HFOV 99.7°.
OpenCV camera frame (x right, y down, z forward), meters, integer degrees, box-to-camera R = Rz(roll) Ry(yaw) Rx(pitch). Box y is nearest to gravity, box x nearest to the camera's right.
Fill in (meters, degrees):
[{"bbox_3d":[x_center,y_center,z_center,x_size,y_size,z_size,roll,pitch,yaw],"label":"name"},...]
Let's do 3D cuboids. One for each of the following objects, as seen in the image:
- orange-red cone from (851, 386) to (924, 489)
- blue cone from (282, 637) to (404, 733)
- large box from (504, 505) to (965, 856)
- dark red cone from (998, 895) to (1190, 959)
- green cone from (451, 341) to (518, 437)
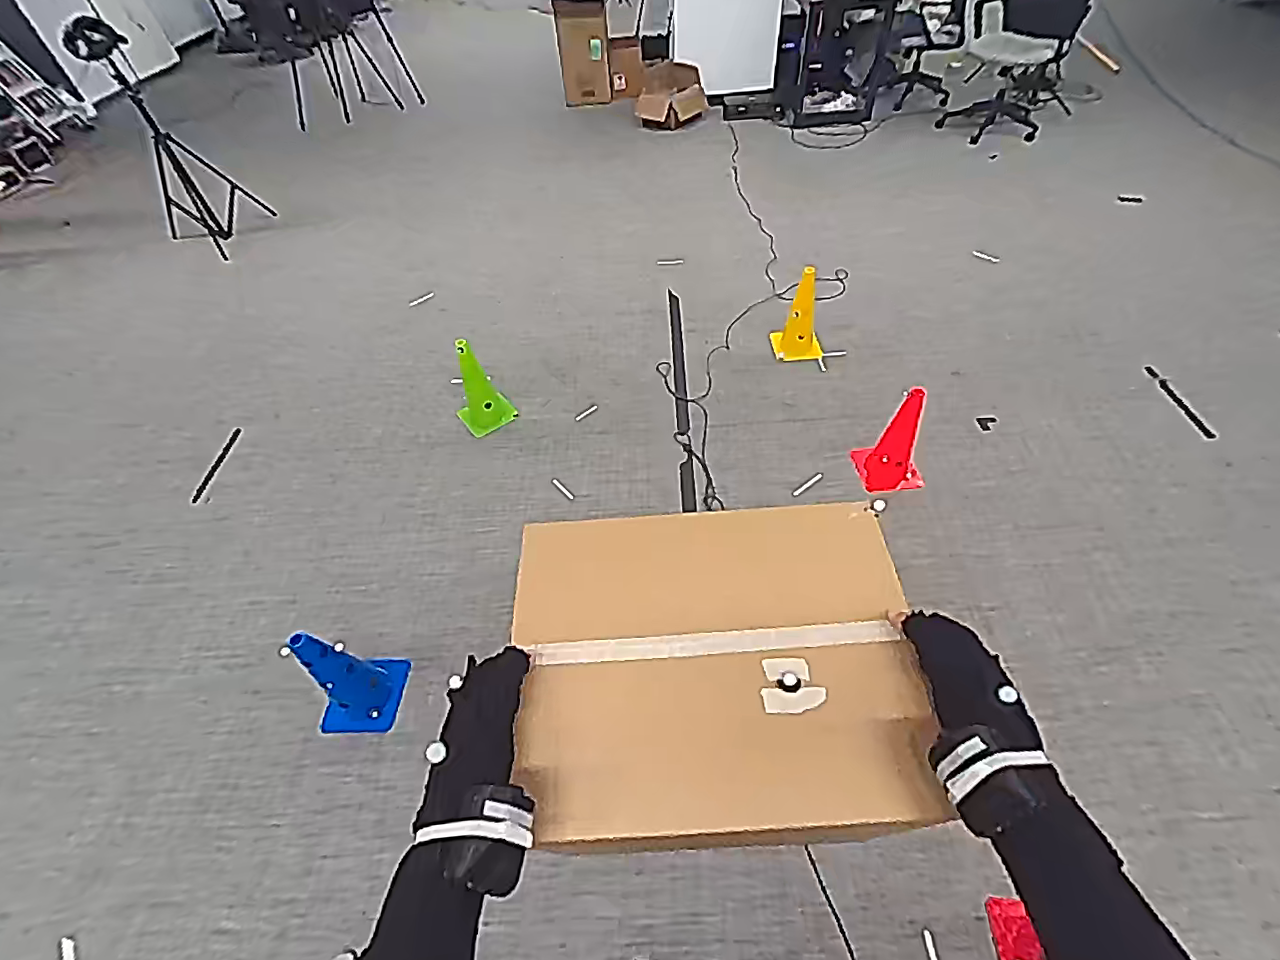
[{"bbox_3d":[0.846,-0.159,1.761,0.198,0.360,0.199,-5,48,0],"label":"orange-red cone"},{"bbox_3d":[-0.775,0.494,1.377,0.192,0.380,0.193,-2,49,5],"label":"blue cone"},{"bbox_3d":[0.077,0.255,0.663,0.408,0.320,0.320,-4,54,1],"label":"large box"},{"bbox_3d":[0.794,0.818,0.904,0.201,0.394,0.202,0,50,7],"label":"dark red cone"},{"bbox_3d":[-0.641,-0.379,2.084,0.202,0.368,0.200,-34,54,-20],"label":"green cone"}]
